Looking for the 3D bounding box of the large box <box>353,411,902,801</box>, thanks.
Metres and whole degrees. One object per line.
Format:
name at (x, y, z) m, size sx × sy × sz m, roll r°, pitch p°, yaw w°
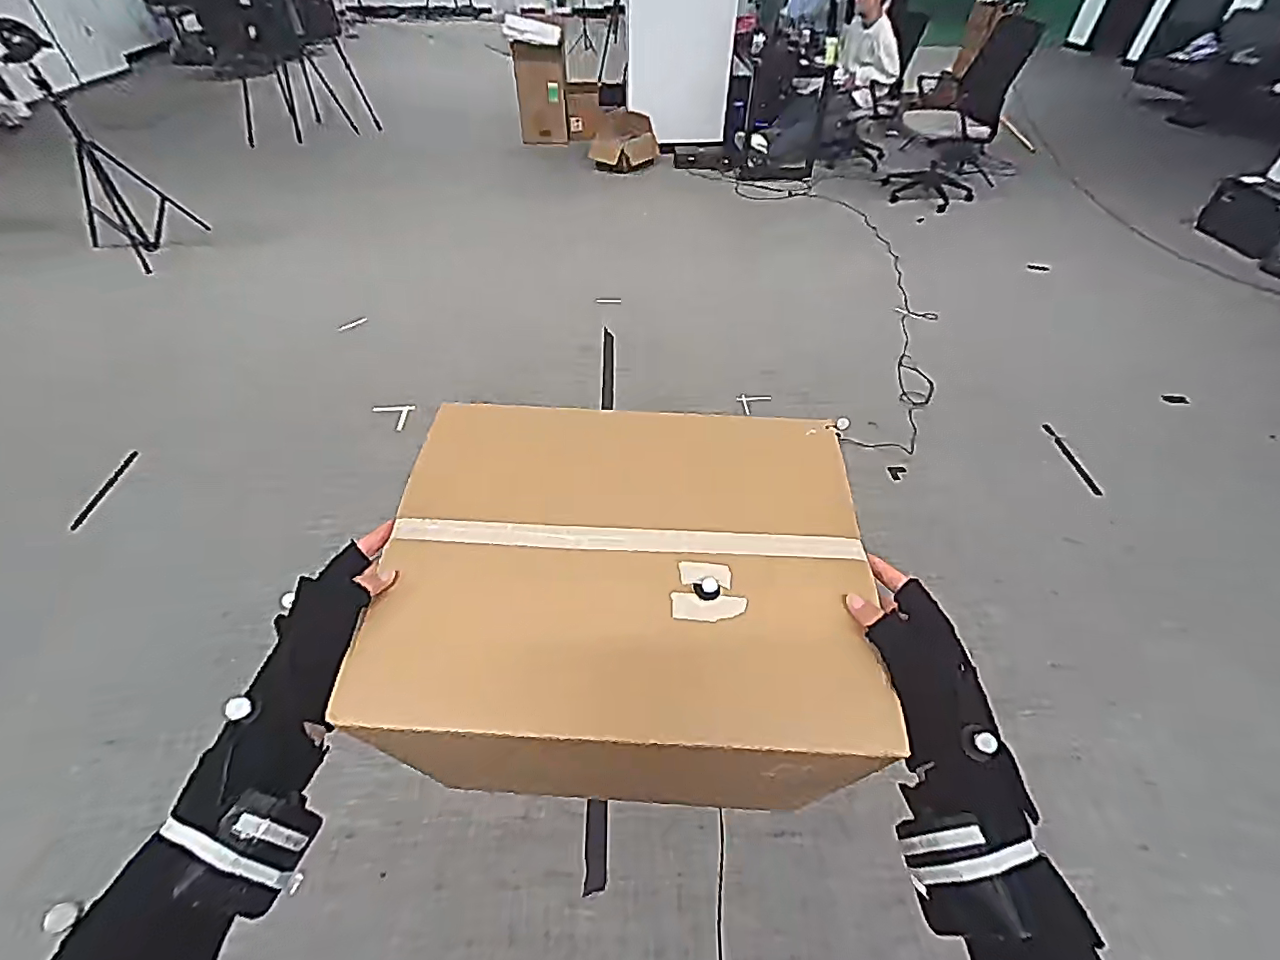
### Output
large box at (-0.009, 0.148, 0.592) m, size 0.408 × 0.320 × 0.320 m, roll 3°, pitch 53°, yaw 0°
